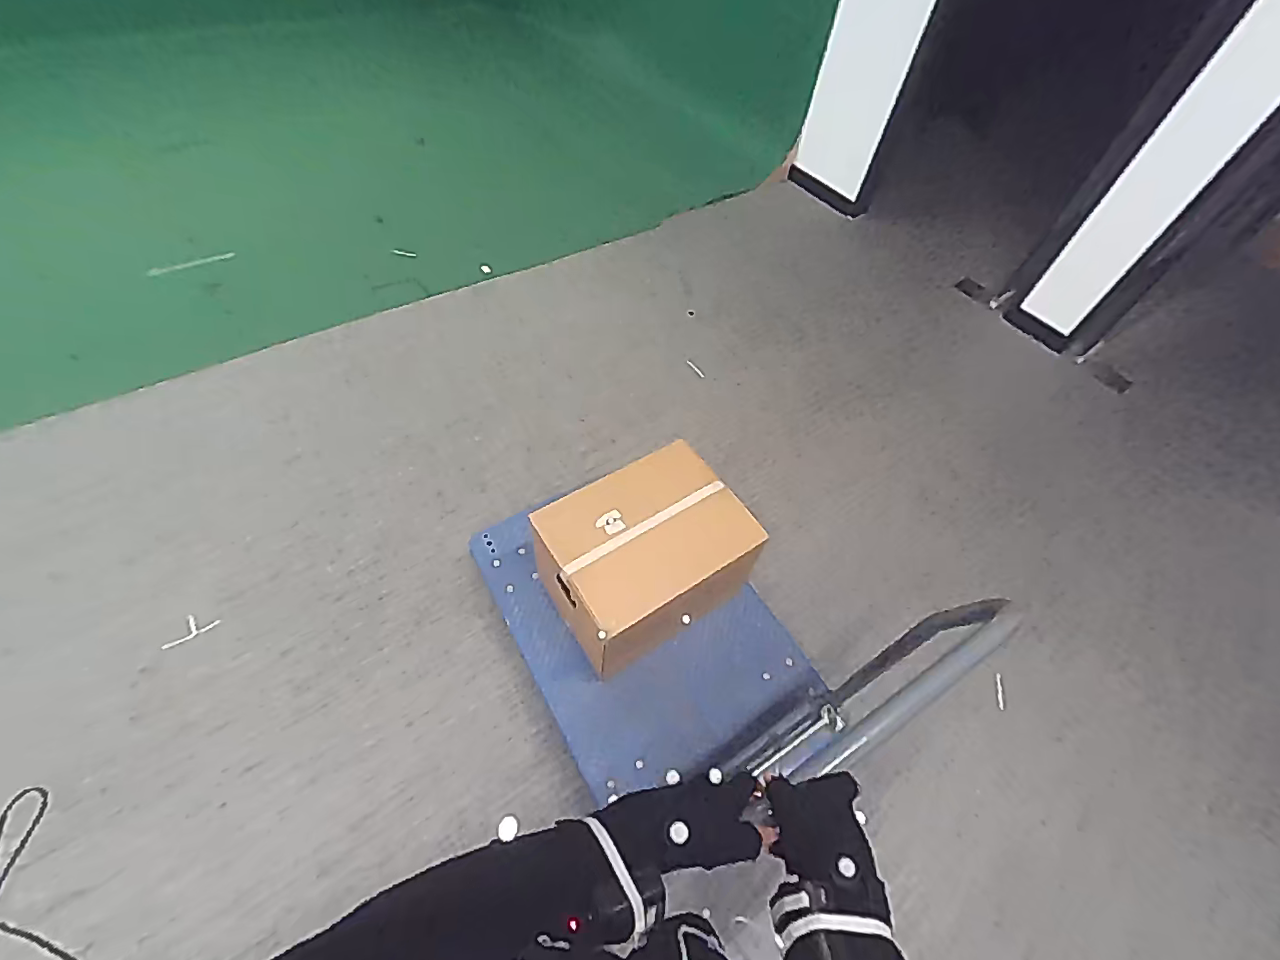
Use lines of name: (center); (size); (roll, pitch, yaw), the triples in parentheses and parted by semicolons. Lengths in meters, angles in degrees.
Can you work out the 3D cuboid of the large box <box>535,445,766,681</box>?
large box: (0.014, 0.191, 1.253); (0.408, 0.320, 0.320); (-28, 61, -22)
